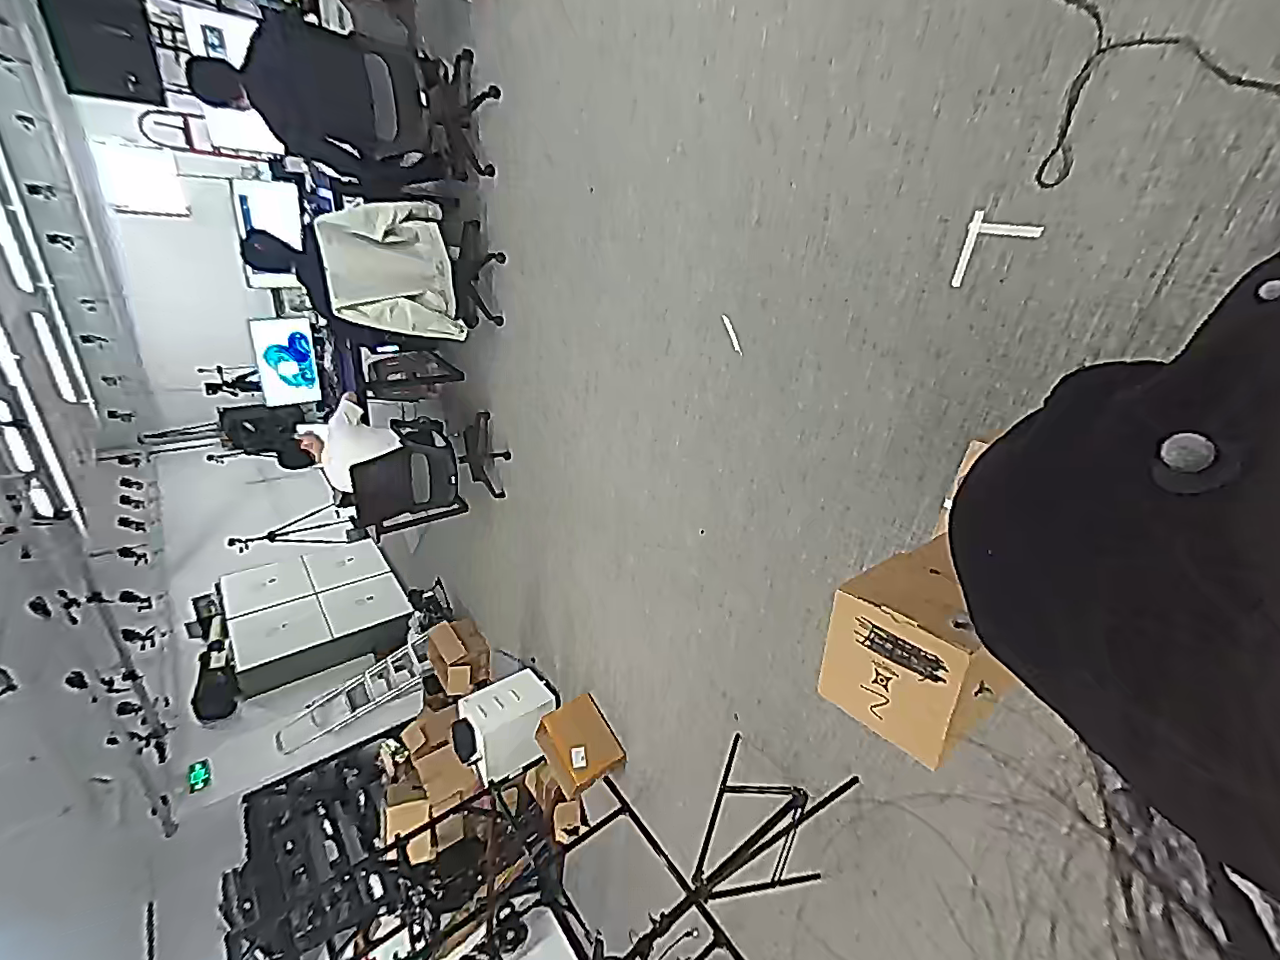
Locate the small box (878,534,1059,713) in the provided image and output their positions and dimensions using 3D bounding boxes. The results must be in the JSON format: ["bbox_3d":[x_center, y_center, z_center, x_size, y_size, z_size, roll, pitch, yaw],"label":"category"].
[{"bbox_3d":[0.494,0.201,0.814,0.168,0.176,0.179,27,122,47],"label":"small box"}]
